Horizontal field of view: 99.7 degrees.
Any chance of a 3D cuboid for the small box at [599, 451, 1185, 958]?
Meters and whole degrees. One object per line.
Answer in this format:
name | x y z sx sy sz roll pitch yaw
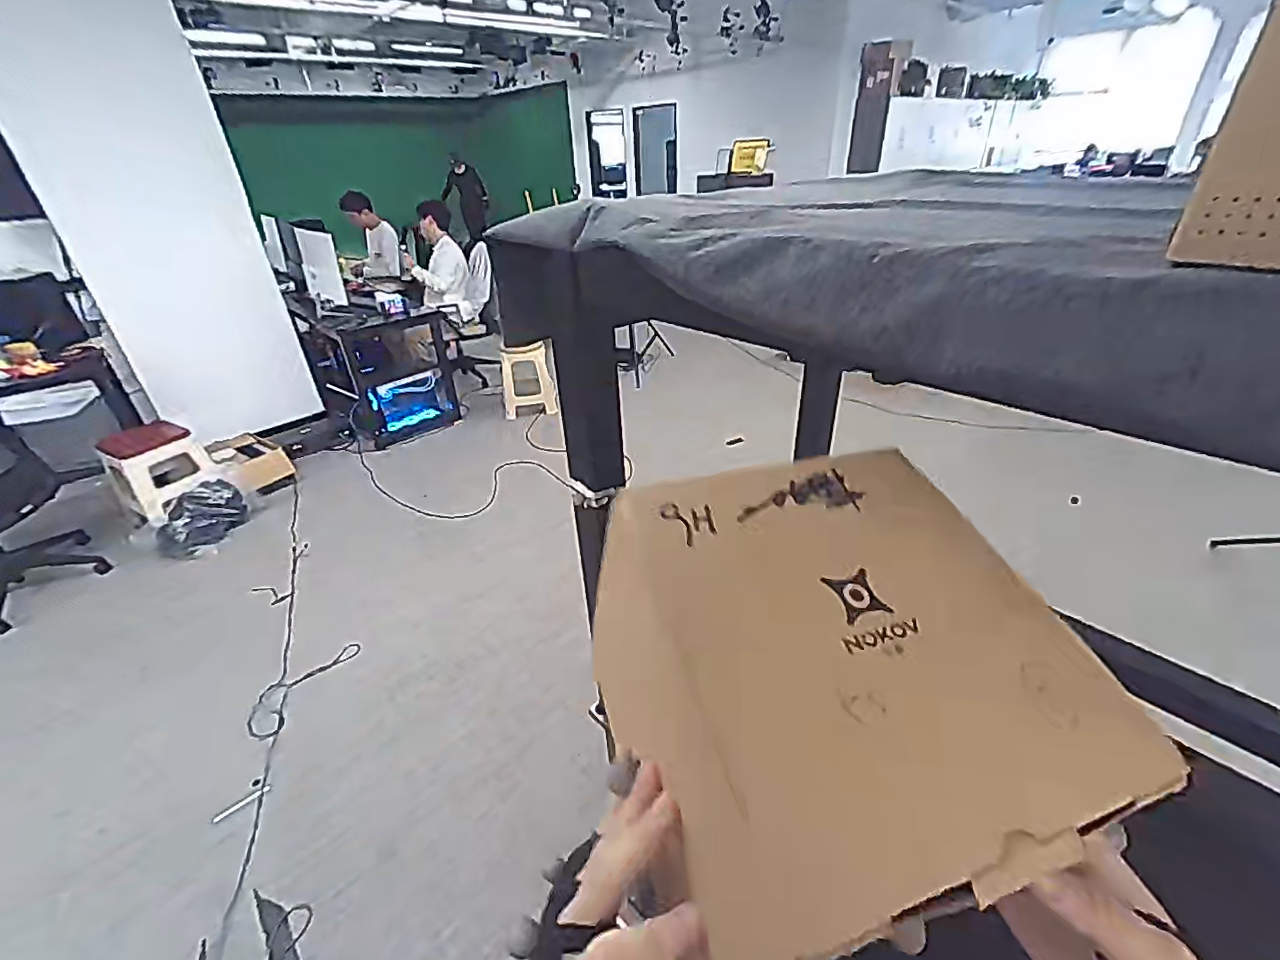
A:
small box | 0.083 0.110 0.278 0.168 0.176 0.179 -6 47 -19
